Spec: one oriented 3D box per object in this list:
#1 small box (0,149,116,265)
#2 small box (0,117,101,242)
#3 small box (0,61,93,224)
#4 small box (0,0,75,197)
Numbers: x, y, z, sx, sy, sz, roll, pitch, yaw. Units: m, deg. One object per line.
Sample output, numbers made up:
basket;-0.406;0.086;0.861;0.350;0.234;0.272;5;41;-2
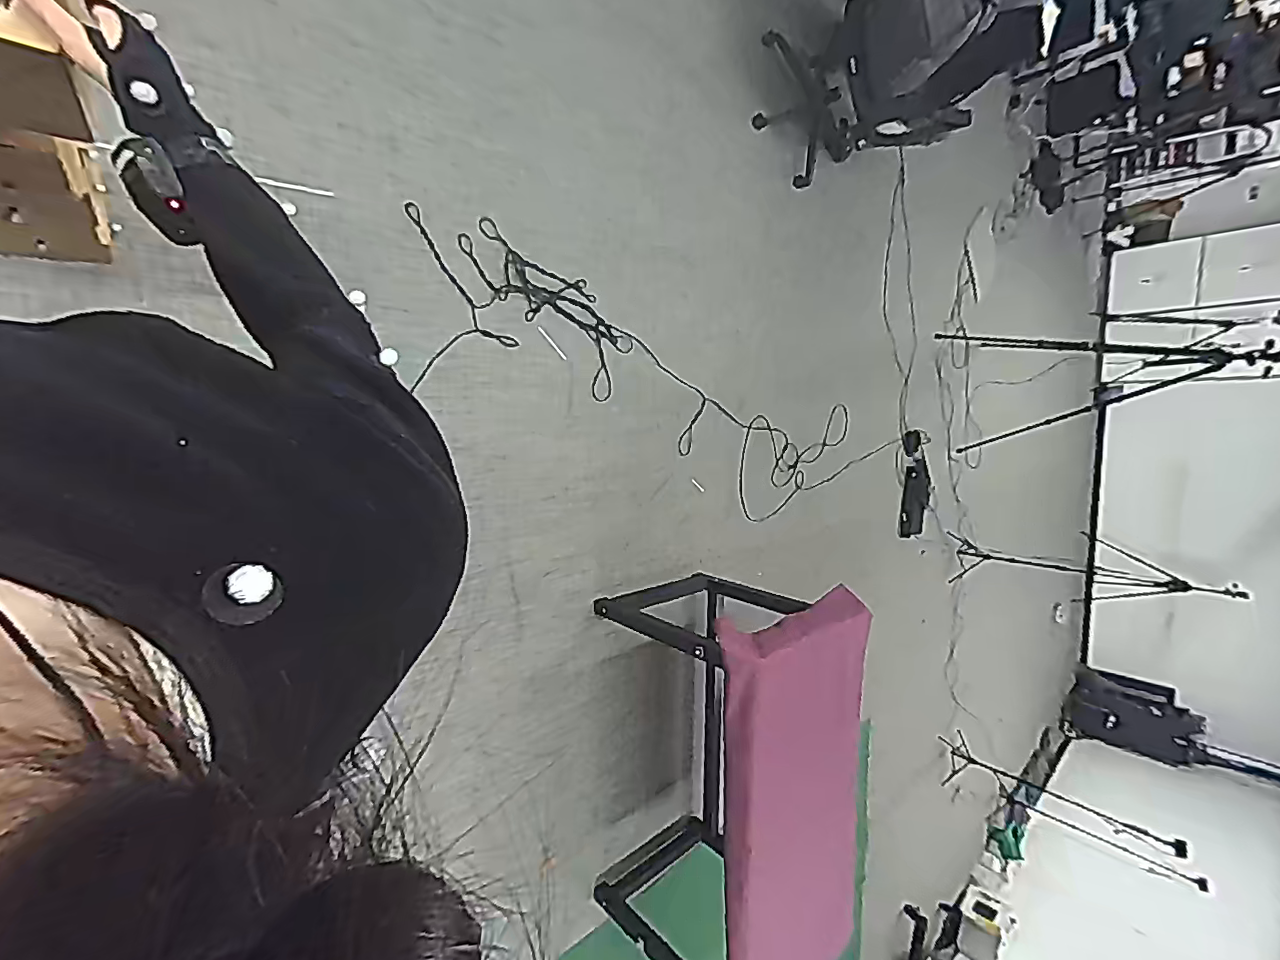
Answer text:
small box;-1.069;-0.494;0.960;0.179;0.176;0.168;-8;100;-41
small box;-0.968;-0.481;0.831;0.179;0.176;0.168;-7;100;-41
small box;-0.857;-0.454;0.713;0.179;0.176;0.168;-10;101;-41
small box;-0.755;-0.437;0.587;0.168;0.176;0.179;-10;103;-39
